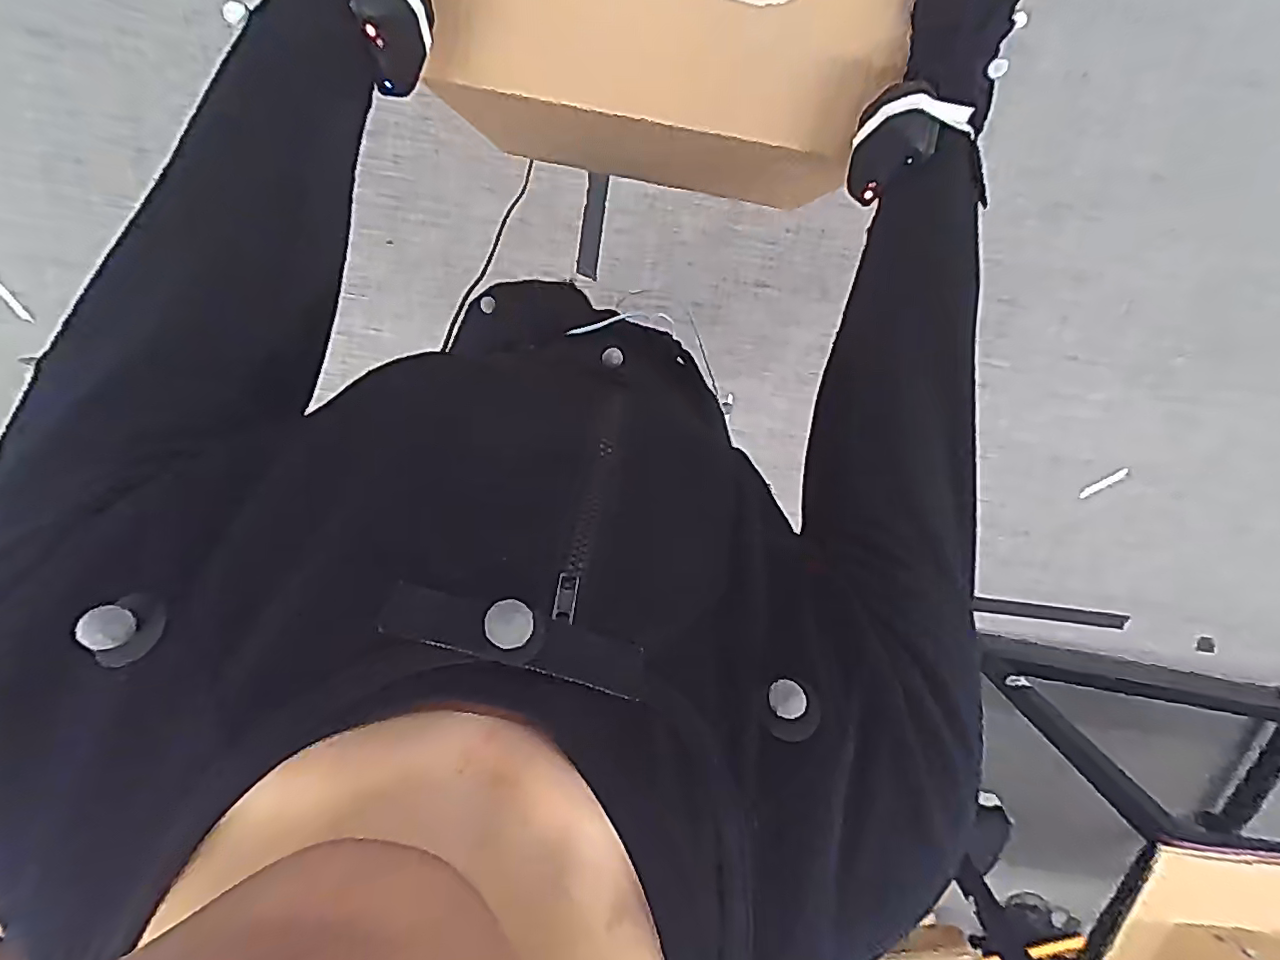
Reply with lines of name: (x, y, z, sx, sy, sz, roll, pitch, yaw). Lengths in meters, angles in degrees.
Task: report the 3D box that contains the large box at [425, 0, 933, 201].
large box: (0.042, -0.498, 0.538, 0.408, 0.320, 0.320, 10, 111, -3)
